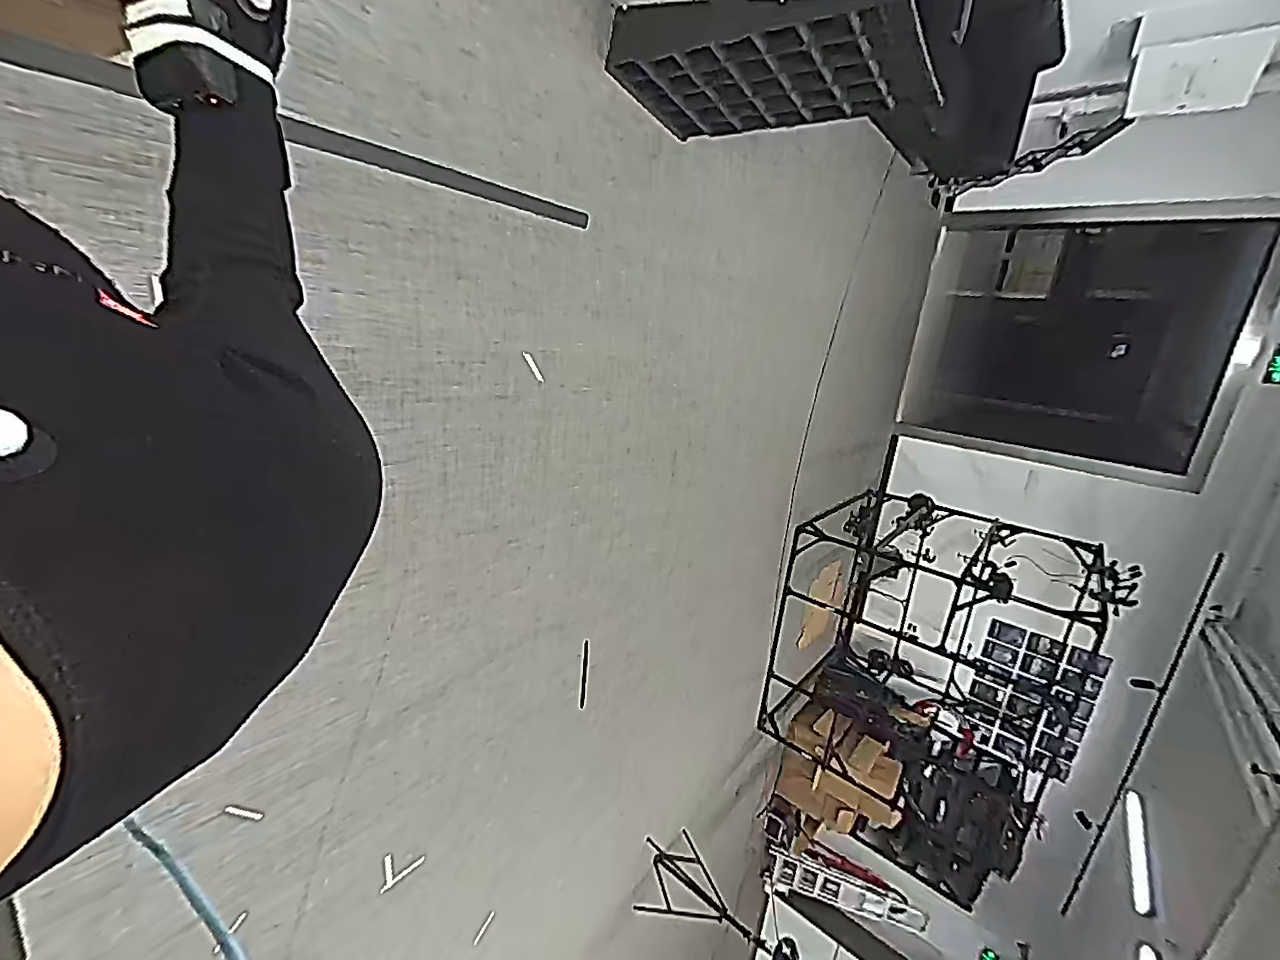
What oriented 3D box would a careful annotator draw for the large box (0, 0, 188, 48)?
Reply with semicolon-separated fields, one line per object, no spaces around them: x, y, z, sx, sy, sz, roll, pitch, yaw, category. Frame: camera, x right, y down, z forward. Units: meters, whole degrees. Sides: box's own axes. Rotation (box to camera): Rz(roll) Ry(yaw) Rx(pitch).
-0.542;-0.487;0.269;0.408;0.320;0.320;-16;124;-49;large box
